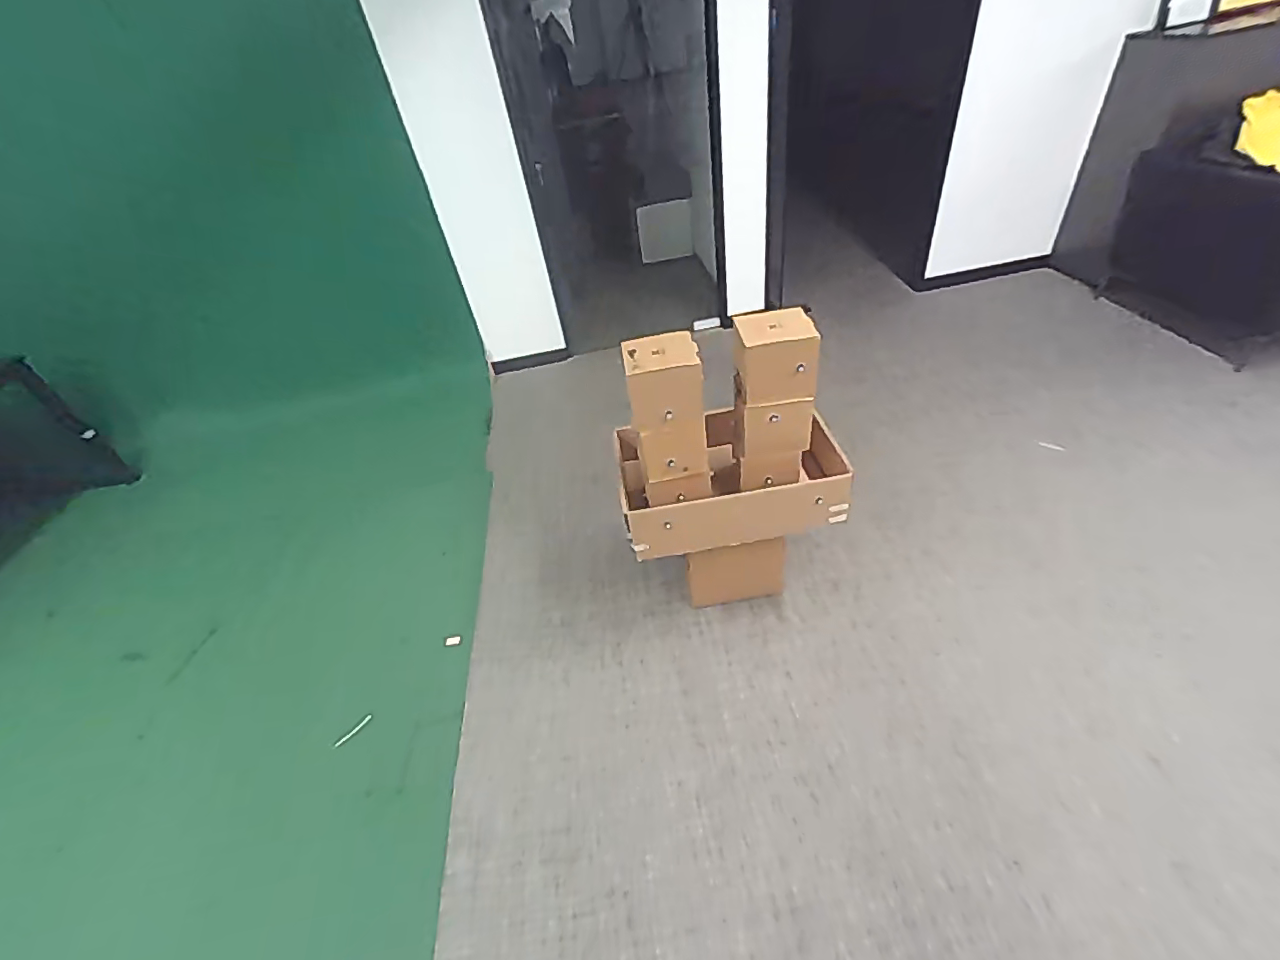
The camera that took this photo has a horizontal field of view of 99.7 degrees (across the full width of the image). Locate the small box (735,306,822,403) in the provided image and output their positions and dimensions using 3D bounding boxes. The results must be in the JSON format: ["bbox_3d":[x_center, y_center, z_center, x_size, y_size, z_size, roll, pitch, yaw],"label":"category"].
[{"bbox_3d":[0.340,-0.313,1.355,0.179,0.176,0.168,-9,40,4],"label":"small box"}]

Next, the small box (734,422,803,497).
[{"bbox_3d":[0.370,-0.063,1.564,0.168,0.176,0.179,-7,41,5],"label":"small box"}]

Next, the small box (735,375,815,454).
[{"bbox_3d":[0.359,-0.185,1.455,0.179,0.176,0.168,-8,41,3],"label":"small box"}]

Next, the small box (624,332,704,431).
[{"bbox_3d":[0.062,-0.243,1.340,0.179,0.176,0.168,-9,41,1],"label":"small box"}]
